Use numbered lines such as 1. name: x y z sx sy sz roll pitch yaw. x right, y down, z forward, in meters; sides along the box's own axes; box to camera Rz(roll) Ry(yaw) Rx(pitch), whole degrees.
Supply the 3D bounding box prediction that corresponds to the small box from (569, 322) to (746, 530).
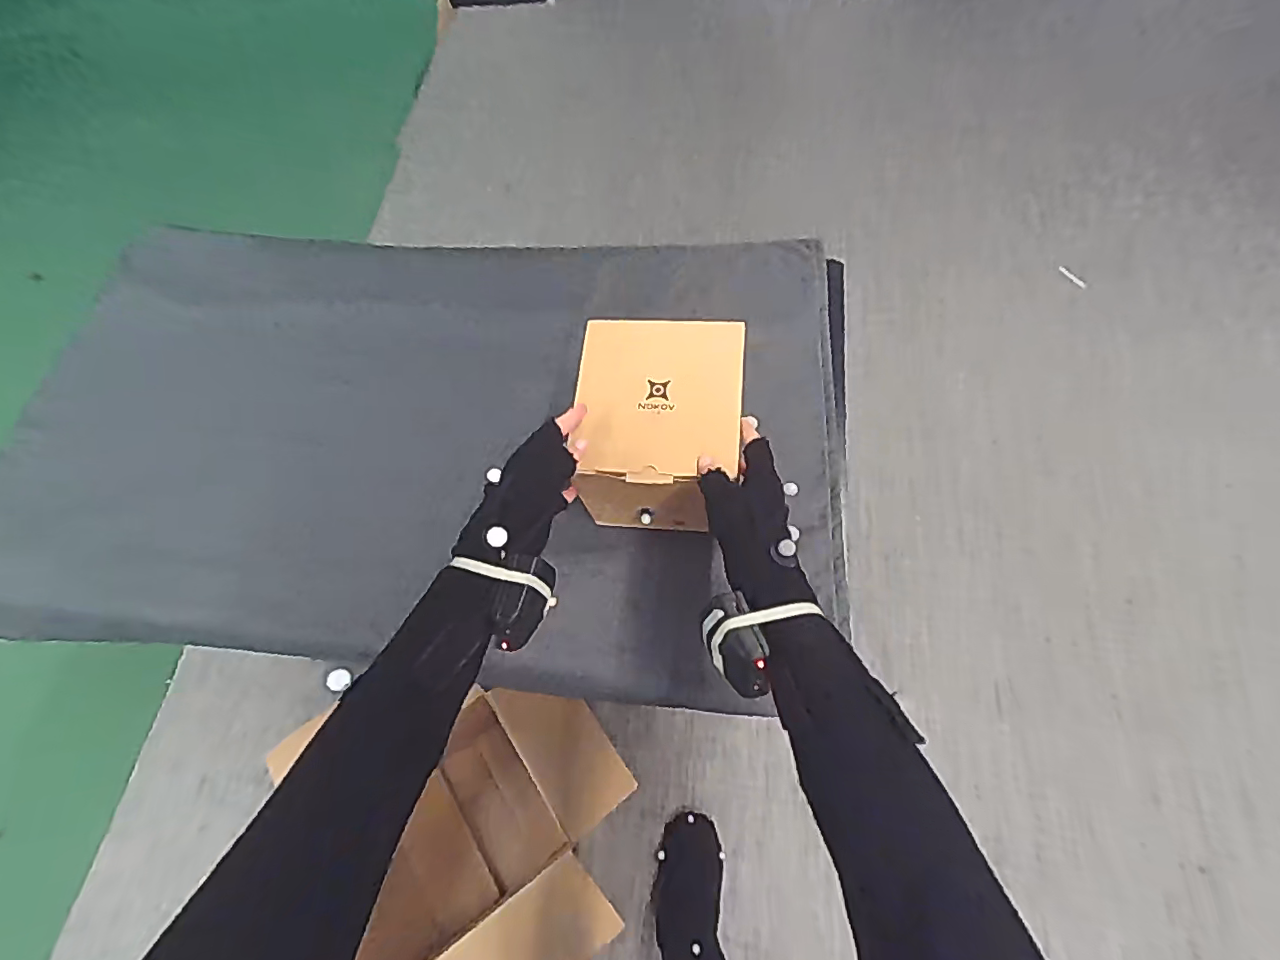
1. small box: 0.028 -0.055 0.610 0.168 0.176 0.179 3 69 8
